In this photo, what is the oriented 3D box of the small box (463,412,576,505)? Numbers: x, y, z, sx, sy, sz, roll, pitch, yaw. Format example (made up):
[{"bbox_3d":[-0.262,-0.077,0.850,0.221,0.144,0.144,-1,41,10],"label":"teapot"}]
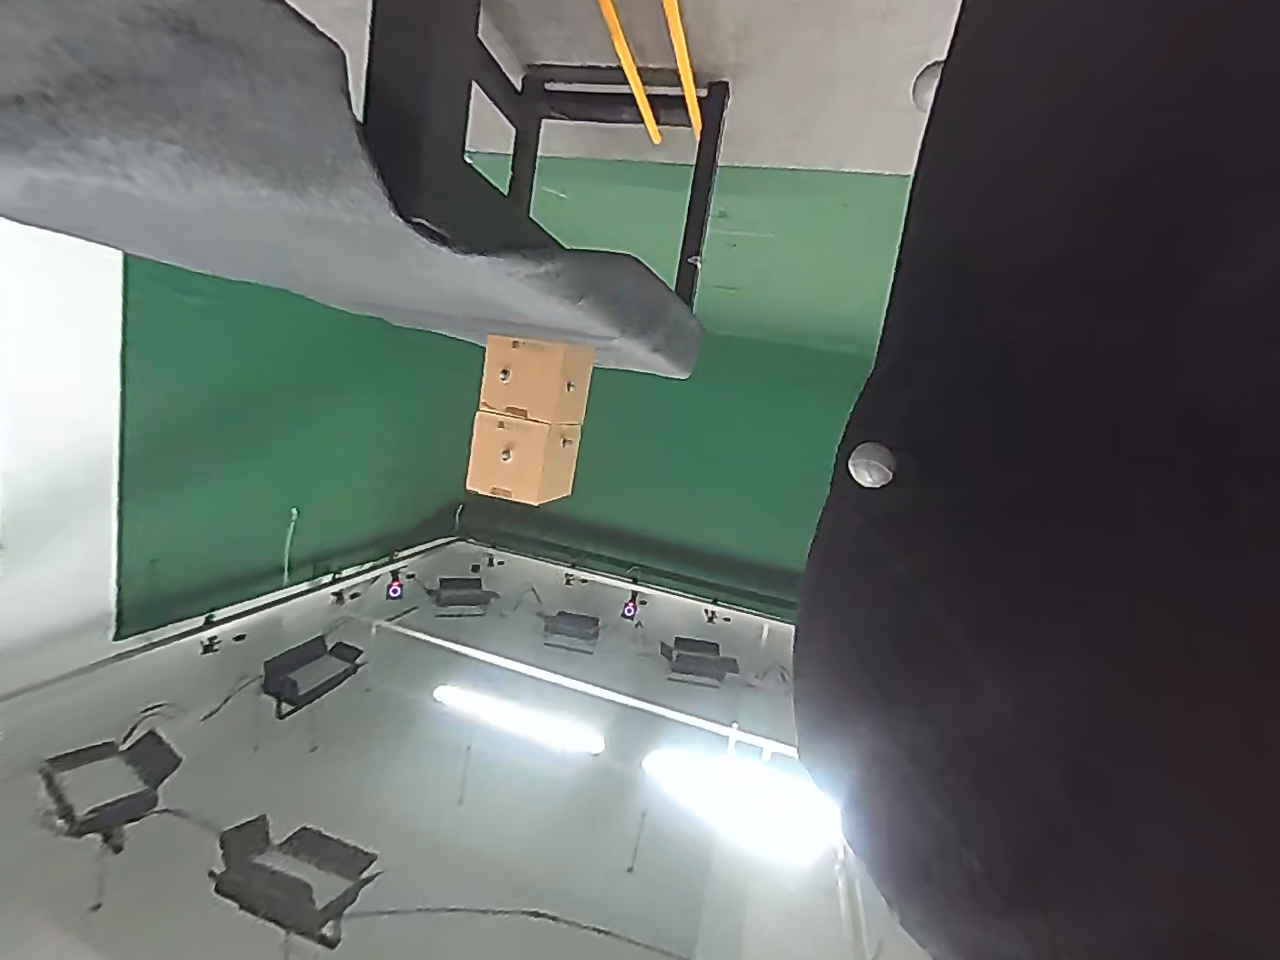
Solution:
[{"bbox_3d":[-0.249,-0.051,1.146,0.168,0.176,0.179,12,-173,13],"label":"small box"}]

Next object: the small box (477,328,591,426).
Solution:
[{"bbox_3d":[-0.214,-0.210,1.121,0.168,0.176,0.179,13,-172,12],"label":"small box"}]
